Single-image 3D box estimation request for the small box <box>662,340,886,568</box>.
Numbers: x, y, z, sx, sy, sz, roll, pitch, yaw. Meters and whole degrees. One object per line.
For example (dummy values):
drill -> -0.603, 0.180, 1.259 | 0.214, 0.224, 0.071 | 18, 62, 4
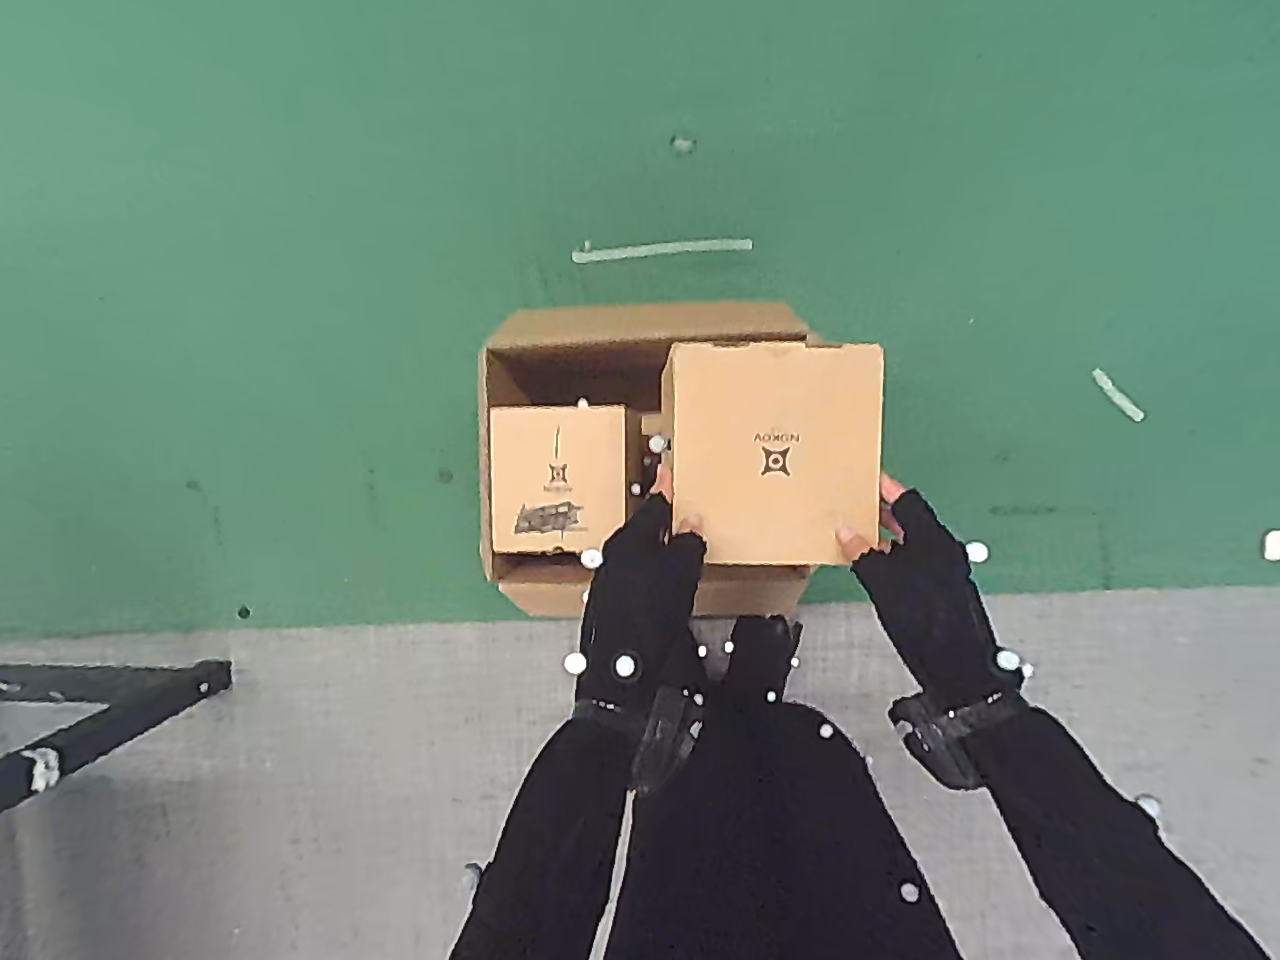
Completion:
small box -> 0.106, -0.023, 0.494 | 0.168, 0.176, 0.179 | 0, 92, 1
